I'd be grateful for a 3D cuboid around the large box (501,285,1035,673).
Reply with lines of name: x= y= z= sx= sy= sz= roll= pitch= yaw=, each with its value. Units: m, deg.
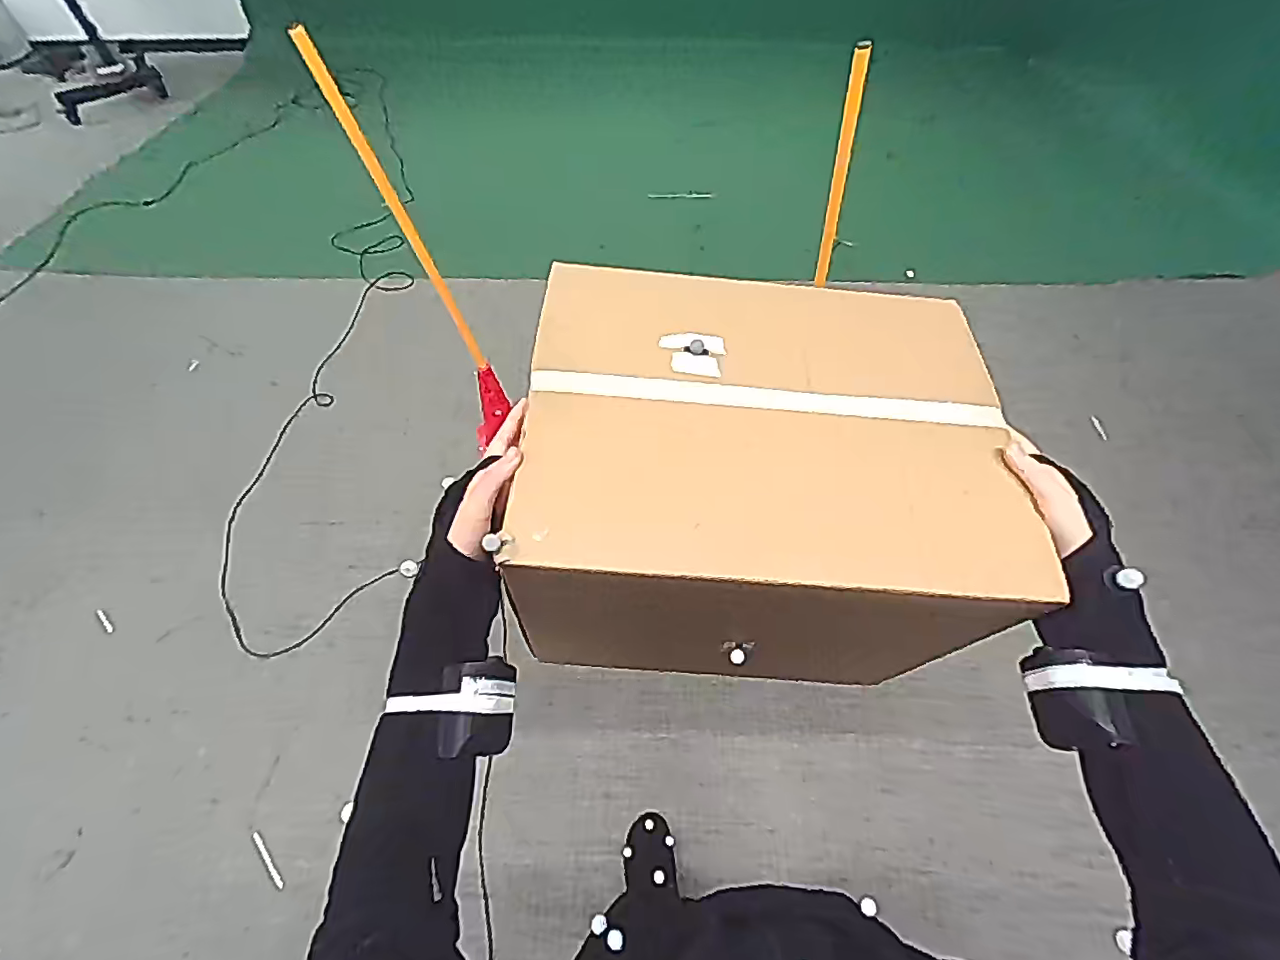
large box: x=0.096 y=0.022 z=0.595 sx=0.408 sy=0.320 sz=0.320 roll=4 pitch=59 yaw=-1
